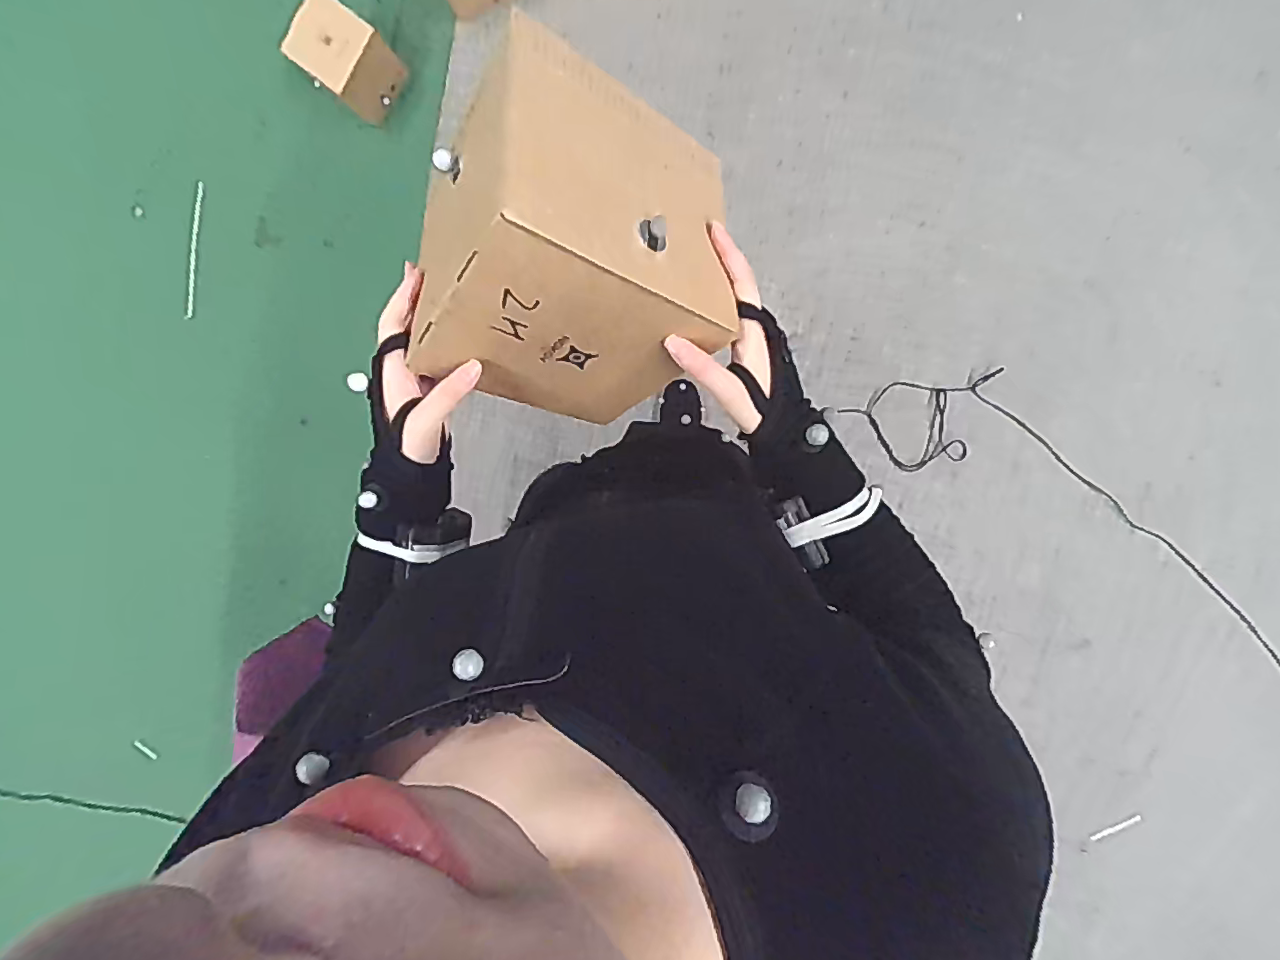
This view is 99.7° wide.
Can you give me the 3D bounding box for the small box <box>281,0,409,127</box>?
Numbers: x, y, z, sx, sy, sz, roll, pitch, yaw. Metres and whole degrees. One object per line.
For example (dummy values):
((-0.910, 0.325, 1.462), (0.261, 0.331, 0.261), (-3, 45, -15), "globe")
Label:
((-0.712, -1.016, 1.323), (0.179, 0.176, 0.168), (37, 100, -1), "small box")
